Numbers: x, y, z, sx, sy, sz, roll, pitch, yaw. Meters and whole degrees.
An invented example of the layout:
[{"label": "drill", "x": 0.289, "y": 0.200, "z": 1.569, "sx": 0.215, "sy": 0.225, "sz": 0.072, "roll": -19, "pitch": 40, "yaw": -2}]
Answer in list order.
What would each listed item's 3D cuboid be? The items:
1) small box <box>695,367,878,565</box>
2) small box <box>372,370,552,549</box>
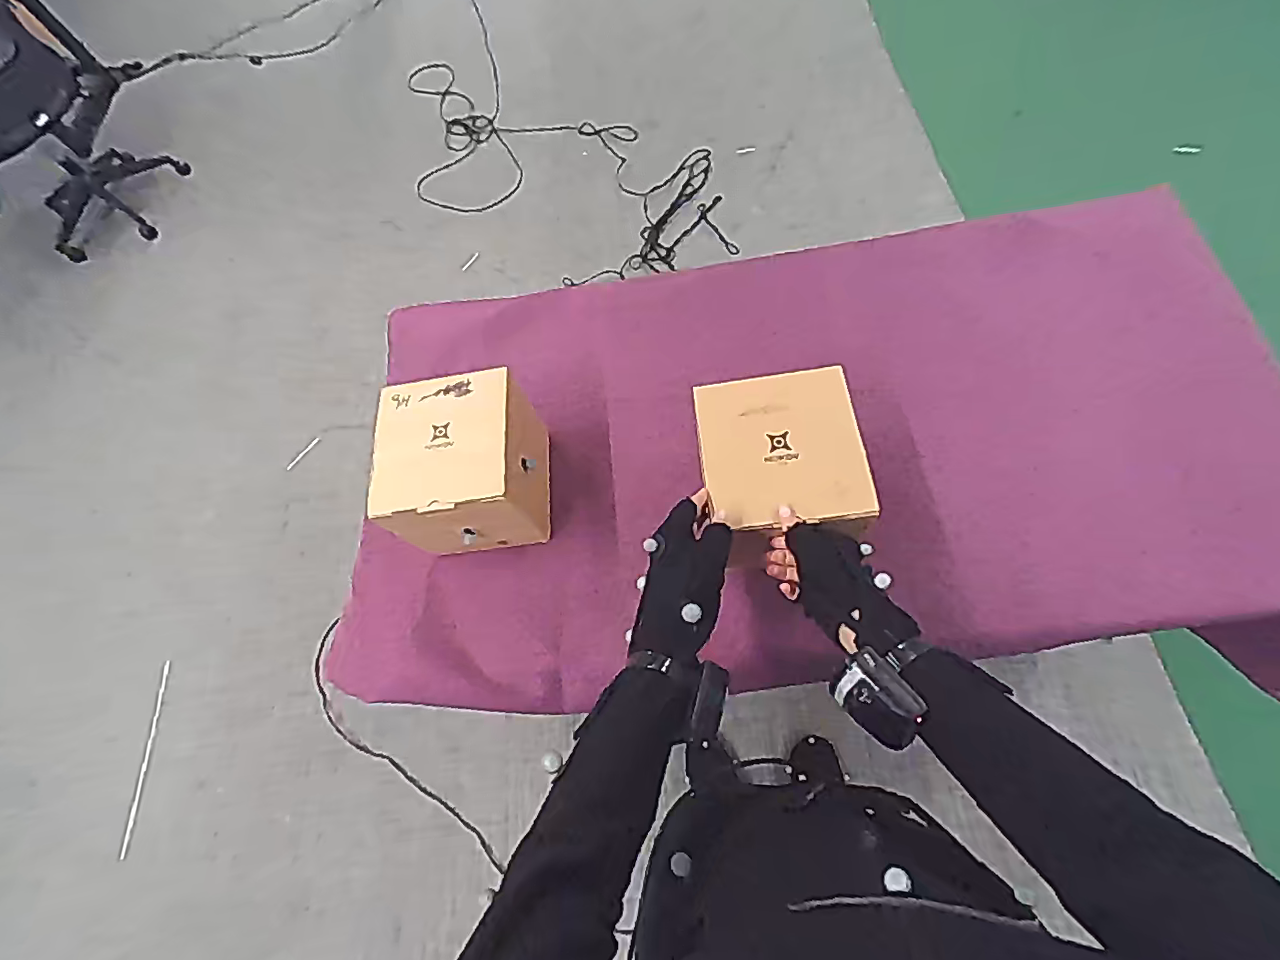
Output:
[{"label": "small box", "x": 0.160, "y": -0.004, "z": 0.637, "sx": 0.168, "sy": 0.176, "sz": 0.179, "roll": -7, "pitch": 66, "yaw": 6}, {"label": "small box", "x": -0.217, "y": -0.015, "z": 0.706, "sx": 0.168, "sy": 0.176, "sz": 0.179, "roll": -8, "pitch": 66, "yaw": 6}]
